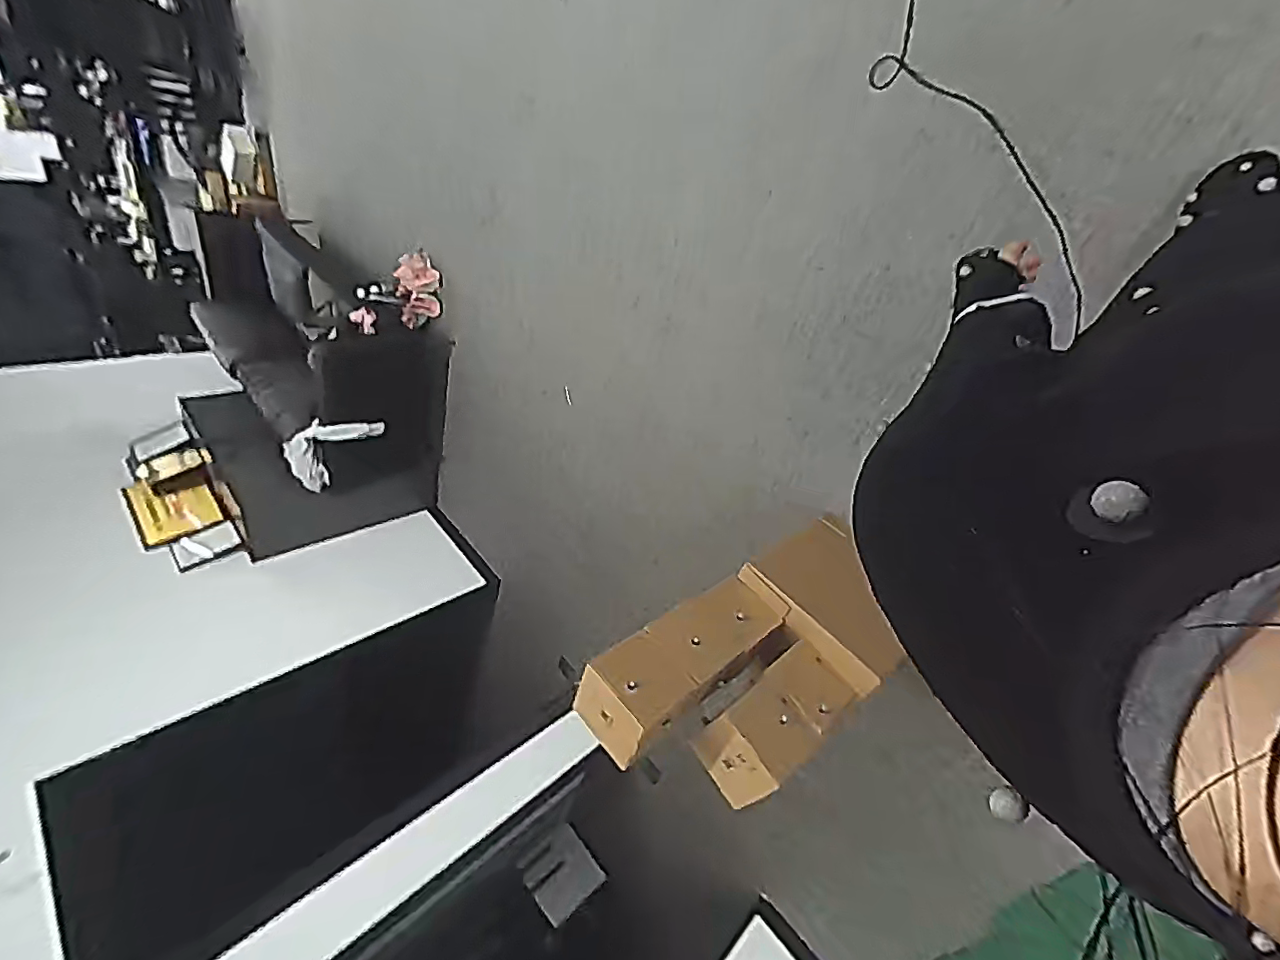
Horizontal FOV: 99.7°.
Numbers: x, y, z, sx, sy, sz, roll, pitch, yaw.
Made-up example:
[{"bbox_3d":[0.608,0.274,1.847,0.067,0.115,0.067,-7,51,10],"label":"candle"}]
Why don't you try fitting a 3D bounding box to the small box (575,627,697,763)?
[{"bbox_3d":[-0.008,0.450,1.155,0.179,0.176,0.168,42,130,28],"label":"small box"}]
